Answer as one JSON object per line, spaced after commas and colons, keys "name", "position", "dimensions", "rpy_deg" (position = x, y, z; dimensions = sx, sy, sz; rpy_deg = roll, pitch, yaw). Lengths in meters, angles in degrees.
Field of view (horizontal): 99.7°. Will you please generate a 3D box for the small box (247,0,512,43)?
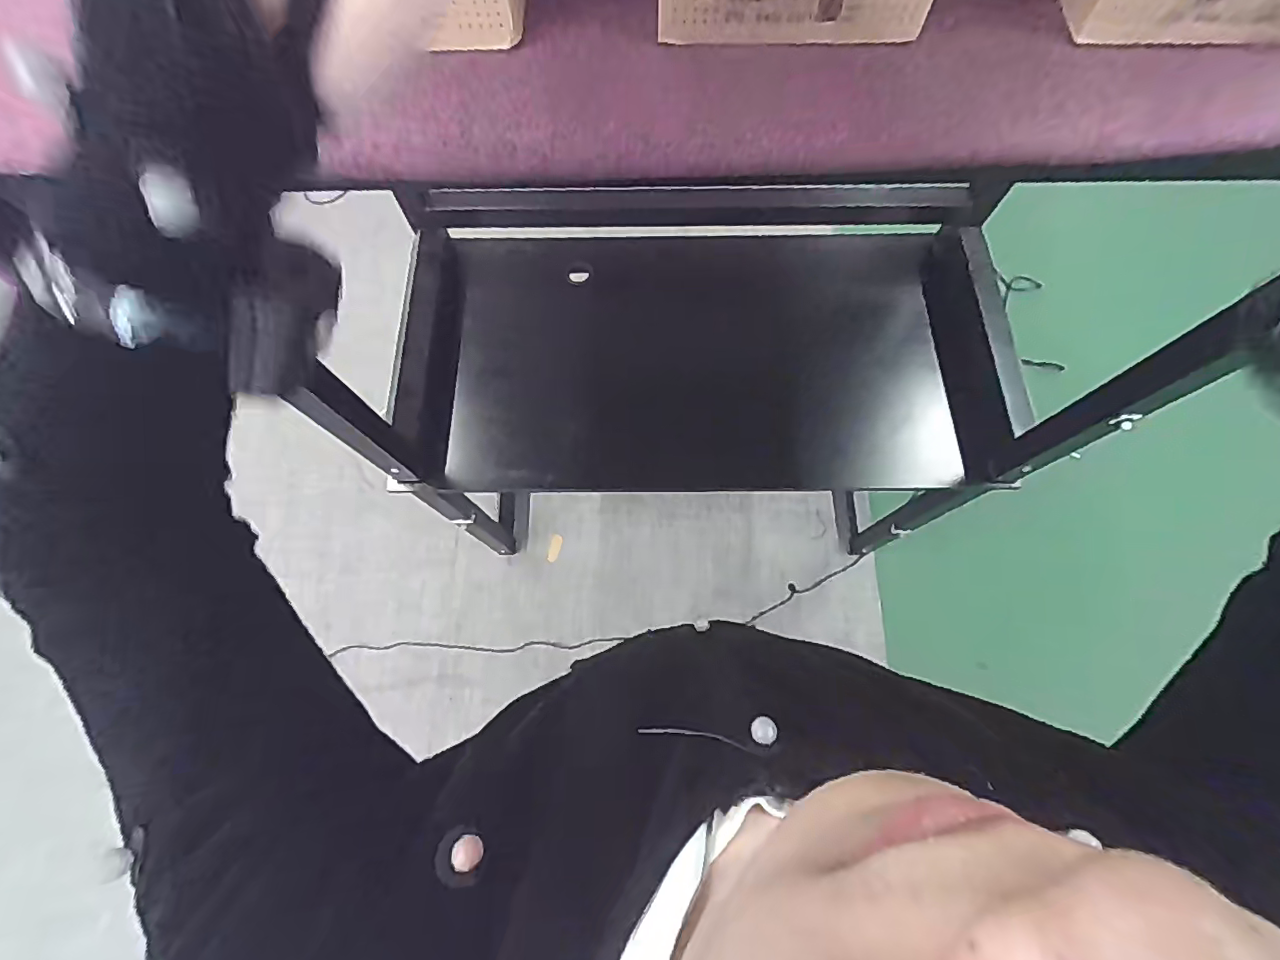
{"name": "small box", "position": [-0.164, -0.385, 0.296], "dimensions": [0.168, 0.176, 0.179], "rpy_deg": [-1, 69, 1]}
